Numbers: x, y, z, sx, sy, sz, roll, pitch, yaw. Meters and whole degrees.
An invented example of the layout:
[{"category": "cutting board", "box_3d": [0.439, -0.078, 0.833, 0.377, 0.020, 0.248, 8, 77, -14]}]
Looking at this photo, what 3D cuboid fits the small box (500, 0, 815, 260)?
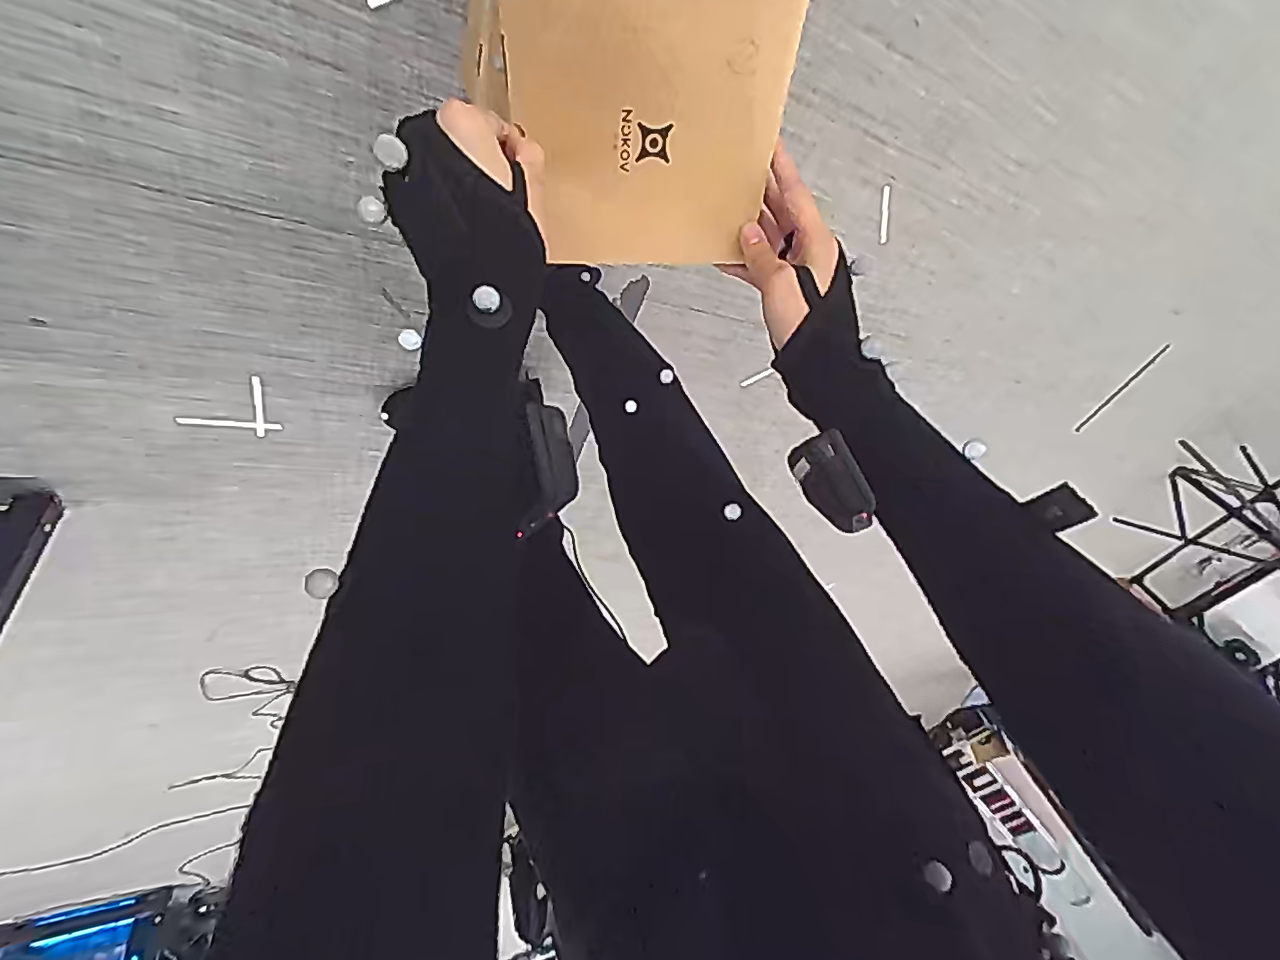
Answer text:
[{"category": "small box", "box_3d": [-0.004, -0.281, 0.393, 0.179, 0.176, 0.168, -3, 141, -8]}]
